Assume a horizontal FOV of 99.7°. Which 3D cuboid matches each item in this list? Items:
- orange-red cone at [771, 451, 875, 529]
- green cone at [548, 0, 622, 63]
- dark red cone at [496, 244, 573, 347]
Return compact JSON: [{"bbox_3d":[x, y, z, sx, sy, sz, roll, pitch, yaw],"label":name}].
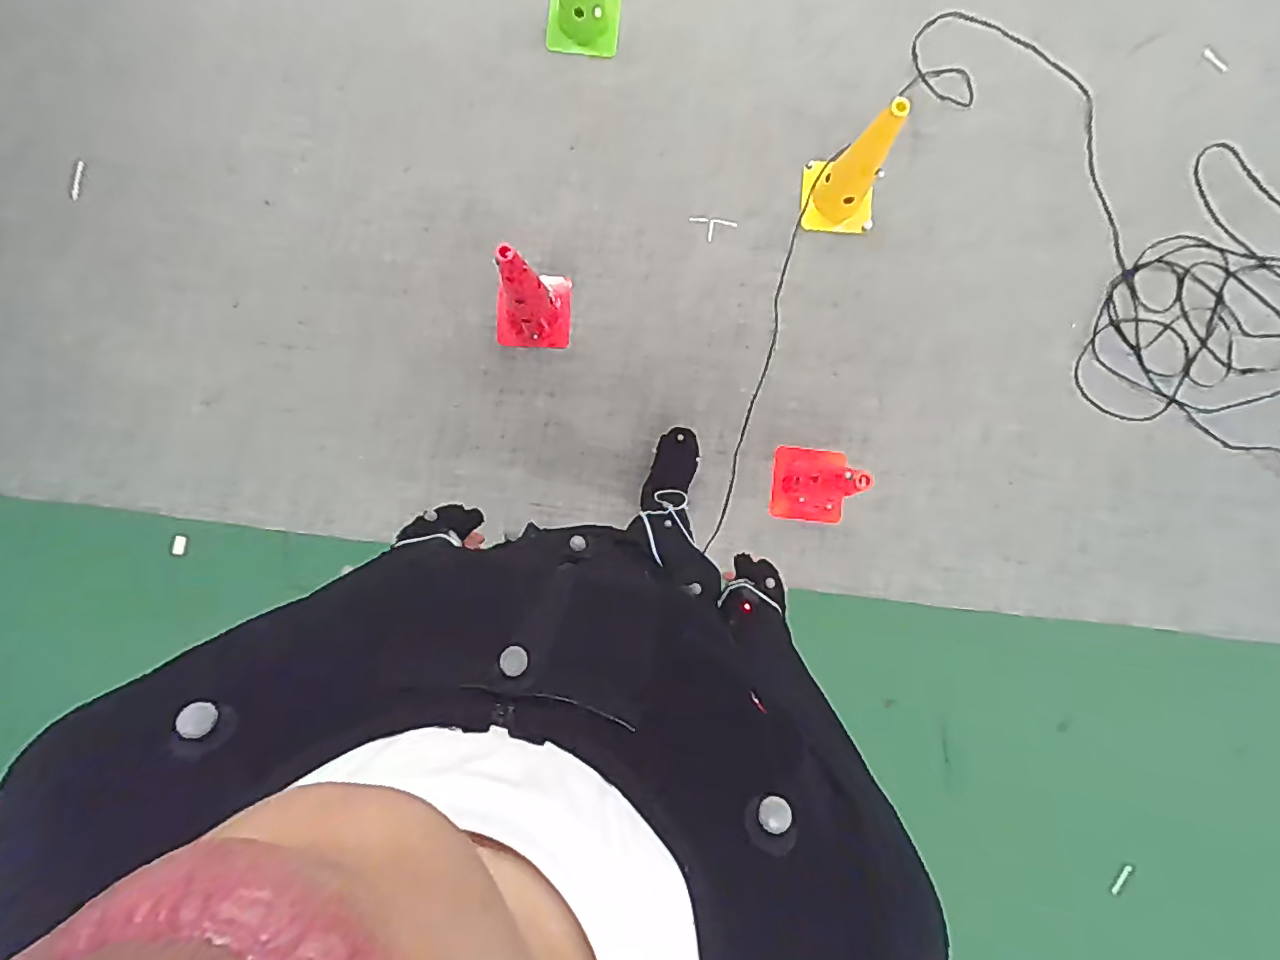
[{"bbox_3d":[0.471,0.017,1.318,0.198,0.360,0.199,7,86,-2],"label":"orange-red cone"},{"bbox_3d":[-0.148,-1.297,1.365,0.202,0.368,0.200,5,88,-2],"label":"green cone"},{"bbox_3d":[-0.281,-0.463,1.299,0.202,0.394,0.201,1,89,-1],"label":"dark red cone"}]
